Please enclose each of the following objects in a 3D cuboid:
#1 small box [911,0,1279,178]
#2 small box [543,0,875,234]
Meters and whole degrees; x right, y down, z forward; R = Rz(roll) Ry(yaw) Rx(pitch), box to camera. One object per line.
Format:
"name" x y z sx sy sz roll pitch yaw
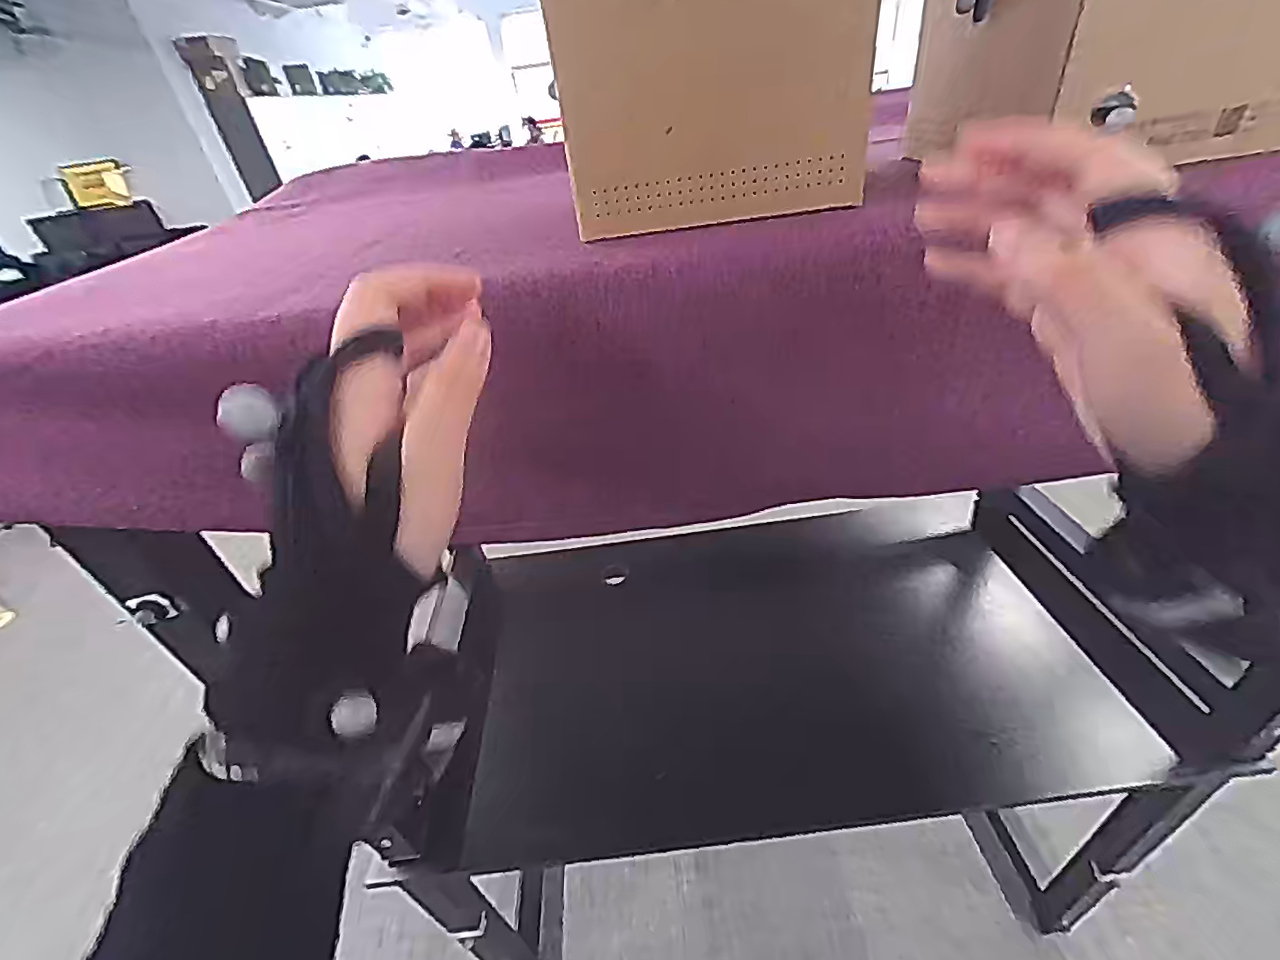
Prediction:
"small box" 0.295 -0.294 0.332 0.168 0.176 0.179 -8 35 1
"small box" 0.039 -0.267 0.345 0.179 0.176 0.168 -6 36 4
